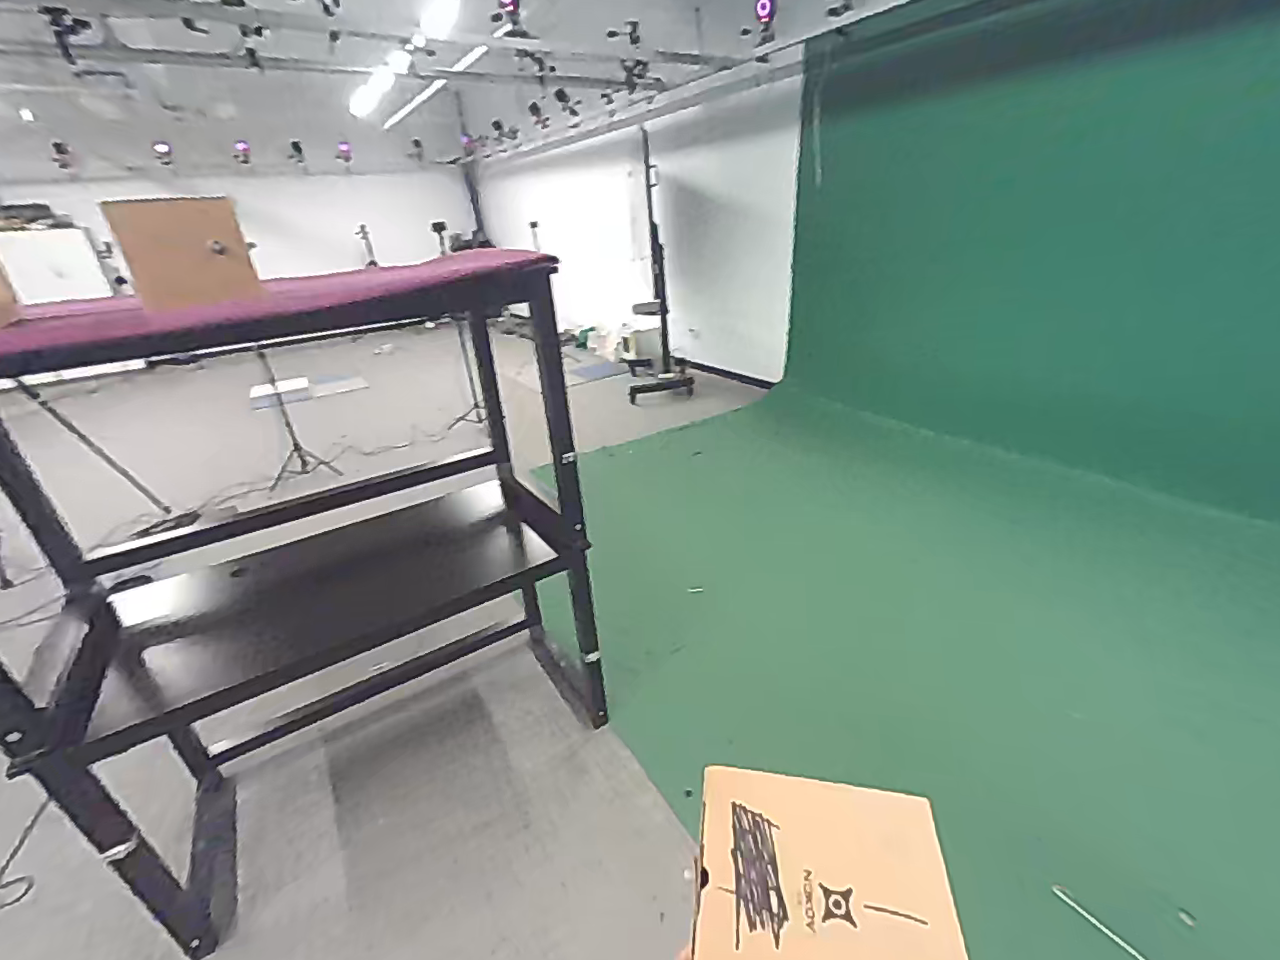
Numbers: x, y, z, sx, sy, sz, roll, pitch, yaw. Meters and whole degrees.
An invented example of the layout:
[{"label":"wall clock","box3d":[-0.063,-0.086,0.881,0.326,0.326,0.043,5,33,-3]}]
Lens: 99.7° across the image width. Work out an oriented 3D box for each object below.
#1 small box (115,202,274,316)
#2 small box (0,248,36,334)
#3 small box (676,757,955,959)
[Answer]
[{"label":"small box","box3d":[-0.786,-0.402,0.979,0.179,0.176,0.168,-20,30,-28]},{"label":"small box","box3d":[-1.054,-0.298,0.793,0.168,0.176,0.179,-19,30,-30]},{"label":"small box","box3d":[0.122,0.353,0.421,0.179,0.176,0.168,6,34,9]}]
